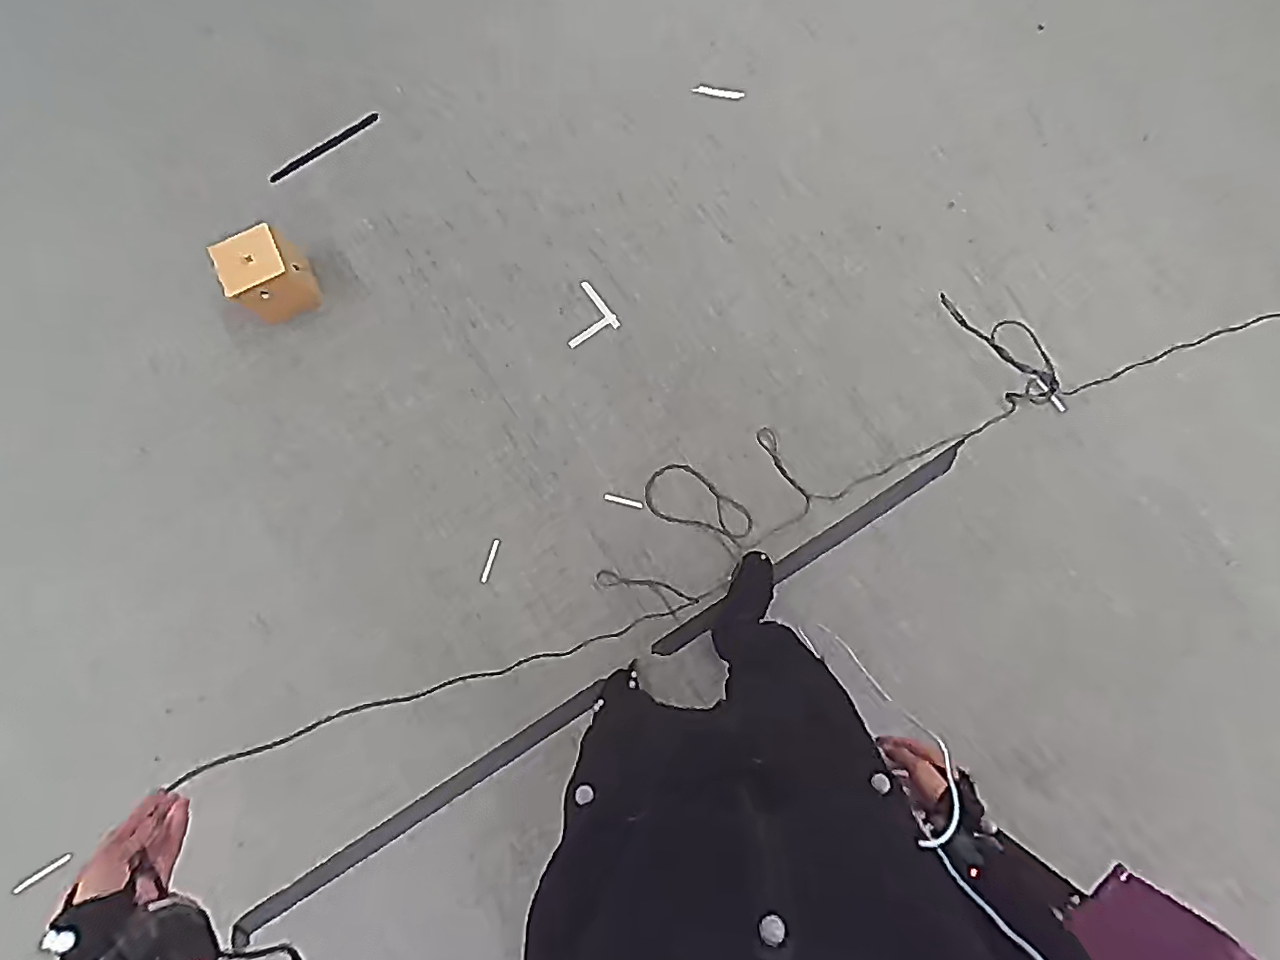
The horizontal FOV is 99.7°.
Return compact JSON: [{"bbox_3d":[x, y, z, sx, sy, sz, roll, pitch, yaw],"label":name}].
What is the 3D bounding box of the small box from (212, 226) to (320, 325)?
[{"bbox_3d":[-1.053,-0.577,1.544,0.179,0.176,0.168,-26,82,-1],"label":"small box"}]
